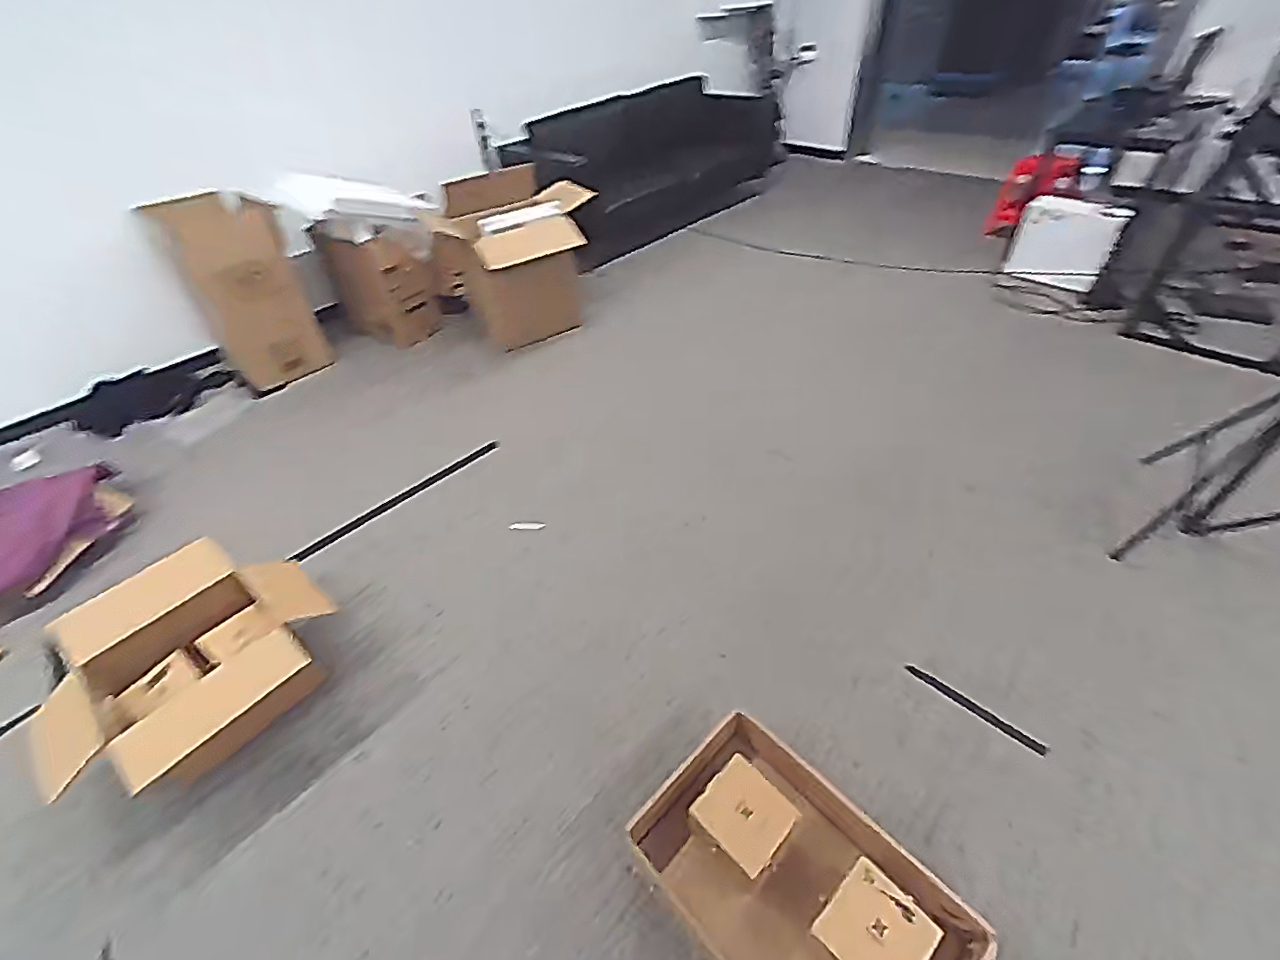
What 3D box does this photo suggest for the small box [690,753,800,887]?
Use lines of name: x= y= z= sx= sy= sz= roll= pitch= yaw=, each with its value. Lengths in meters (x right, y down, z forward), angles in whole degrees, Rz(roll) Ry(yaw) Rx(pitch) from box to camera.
small box: x=0.225 y=0.755 z=1.198 sx=0.168 sy=0.176 sz=0.179 roll=-36 pitch=52 yaw=-26

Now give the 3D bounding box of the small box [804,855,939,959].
small box: x=0.435 y=0.882 z=1.042 sx=0.179 sy=0.176 sz=0.168 roll=-34 pitch=49 yaw=-25
